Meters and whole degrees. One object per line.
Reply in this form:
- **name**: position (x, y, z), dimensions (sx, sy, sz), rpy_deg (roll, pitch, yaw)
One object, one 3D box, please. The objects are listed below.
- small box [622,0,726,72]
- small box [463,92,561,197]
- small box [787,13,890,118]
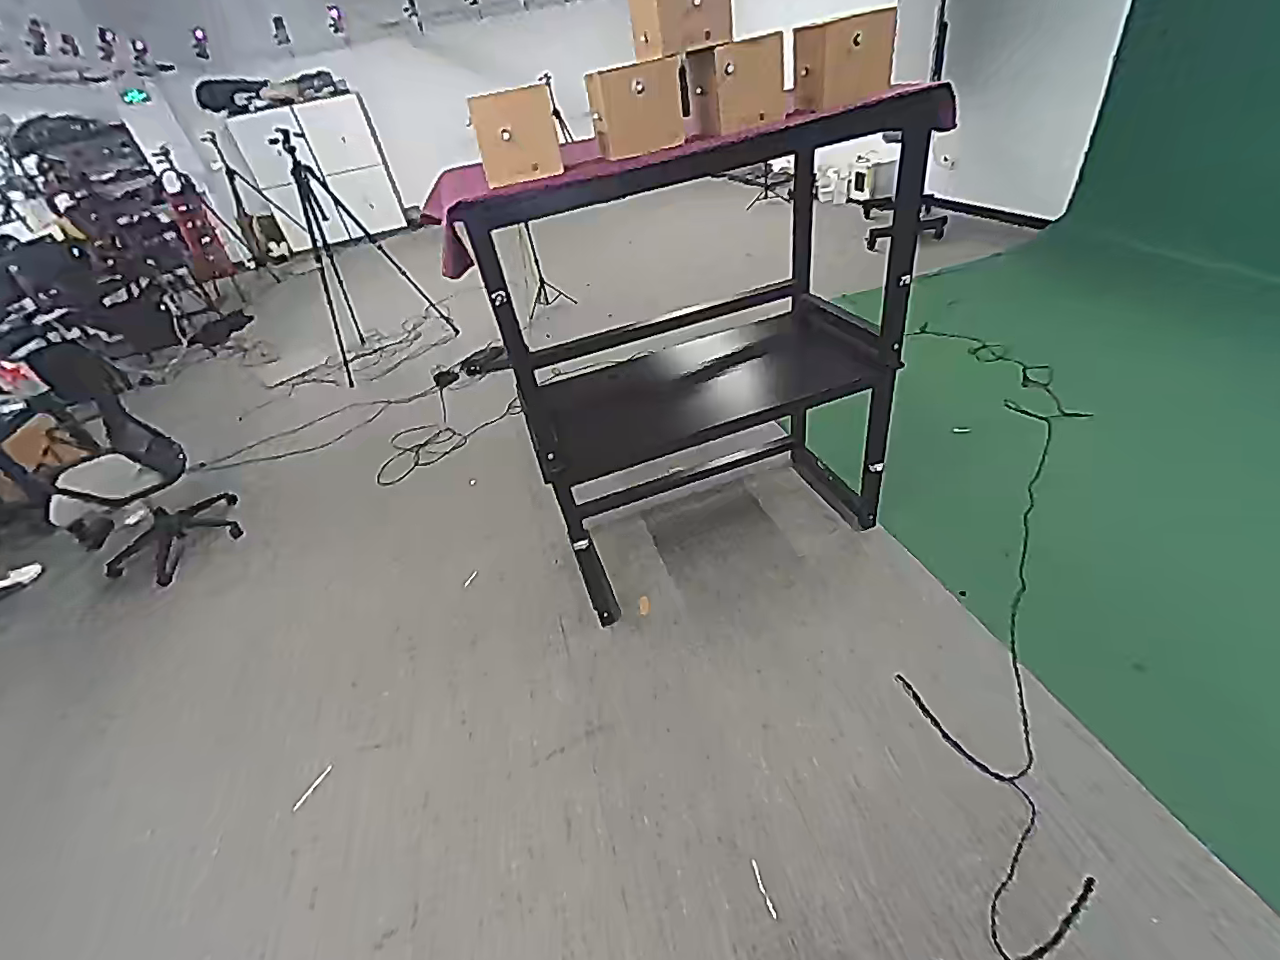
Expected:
- **small box**: position (0.073, -0.994, 1.155), dimensions (0.168, 0.176, 0.179), rpy_deg (-20, 38, -10)
- **small box**: position (-0.280, -0.740, 1.198), dimensions (0.168, 0.176, 0.179), rpy_deg (-16, 35, -5)
- **small box**: position (0.473, -0.991, 1.304), dimensions (0.179, 0.176, 0.168), rpy_deg (-17, 38, -4)
